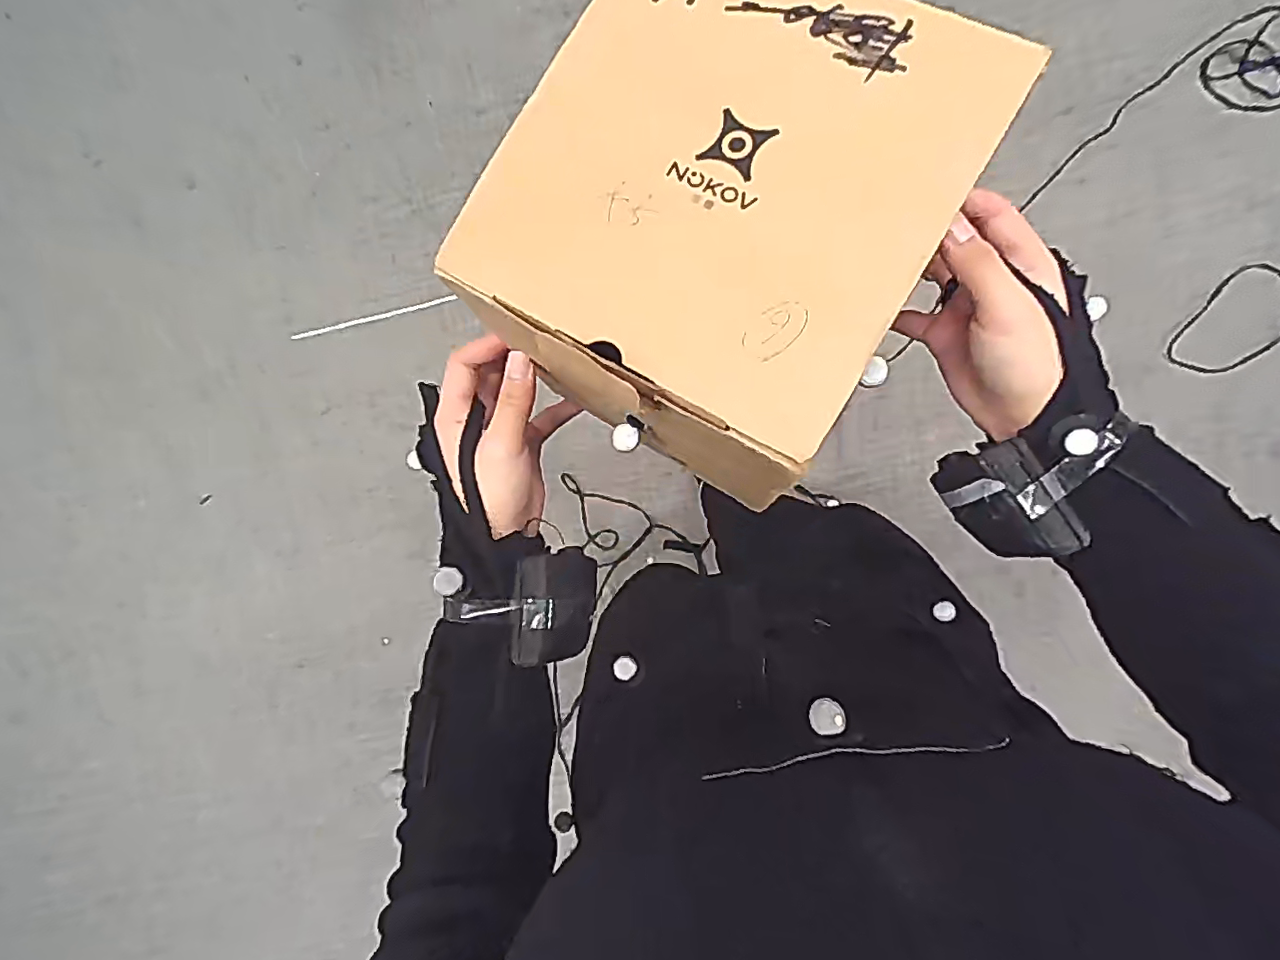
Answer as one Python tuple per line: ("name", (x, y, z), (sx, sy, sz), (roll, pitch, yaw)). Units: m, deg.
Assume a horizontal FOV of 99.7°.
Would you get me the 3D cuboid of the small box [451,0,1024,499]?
("small box", (0.044, -0.103, 0.290), (0.168, 0.176, 0.179), (31, 88, 11))
